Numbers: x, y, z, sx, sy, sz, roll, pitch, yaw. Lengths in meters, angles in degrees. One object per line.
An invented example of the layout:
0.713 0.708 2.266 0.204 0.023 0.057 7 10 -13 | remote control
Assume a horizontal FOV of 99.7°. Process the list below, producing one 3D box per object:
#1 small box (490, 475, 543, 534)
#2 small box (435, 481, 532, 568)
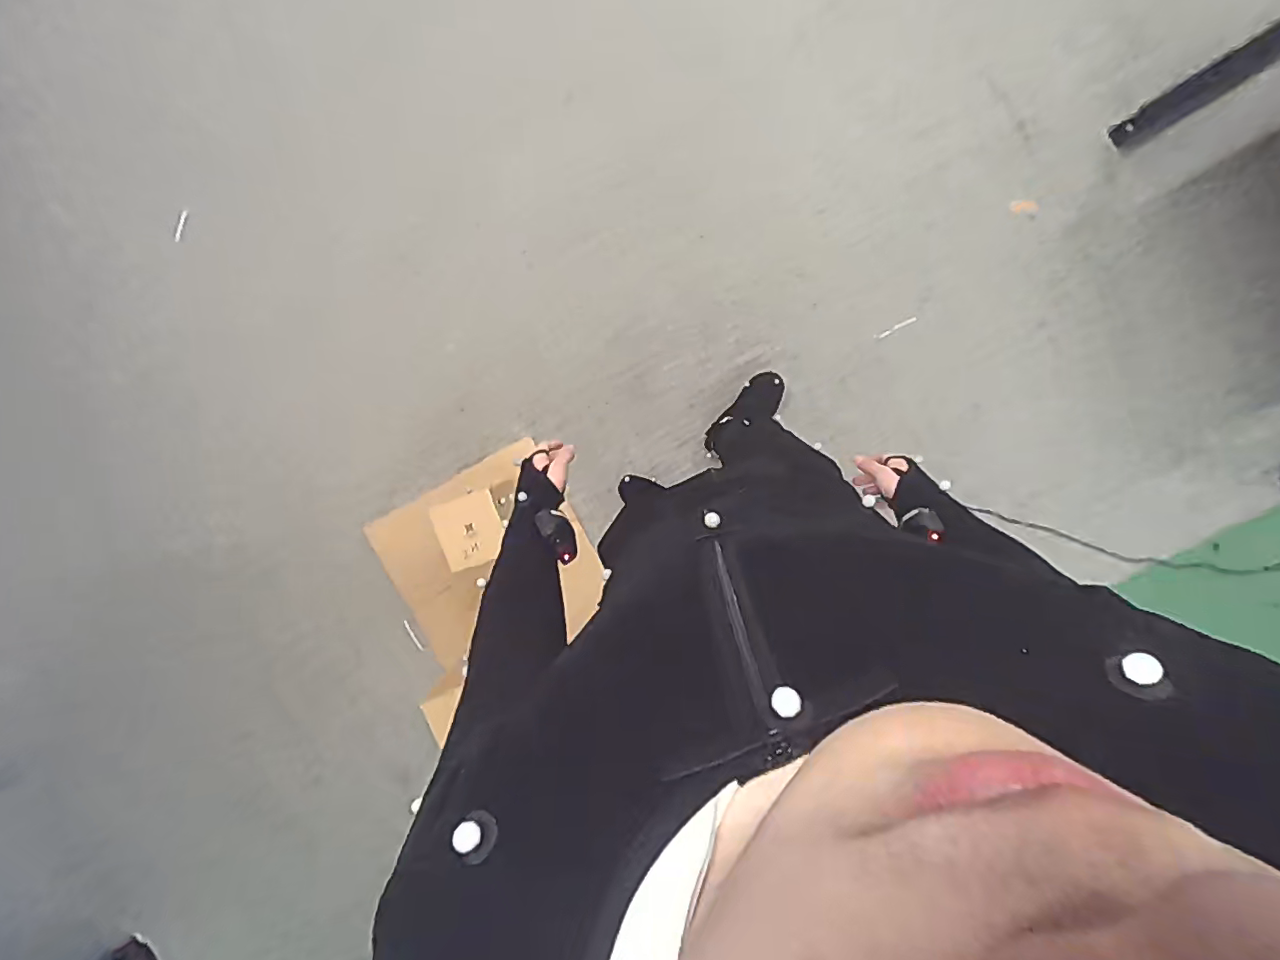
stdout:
-0.403 0.093 1.582 0.168 0.176 0.179 -23 95 5 | small box
-0.403 0.107 1.417 0.168 0.176 0.179 -19 96 5 | small box
